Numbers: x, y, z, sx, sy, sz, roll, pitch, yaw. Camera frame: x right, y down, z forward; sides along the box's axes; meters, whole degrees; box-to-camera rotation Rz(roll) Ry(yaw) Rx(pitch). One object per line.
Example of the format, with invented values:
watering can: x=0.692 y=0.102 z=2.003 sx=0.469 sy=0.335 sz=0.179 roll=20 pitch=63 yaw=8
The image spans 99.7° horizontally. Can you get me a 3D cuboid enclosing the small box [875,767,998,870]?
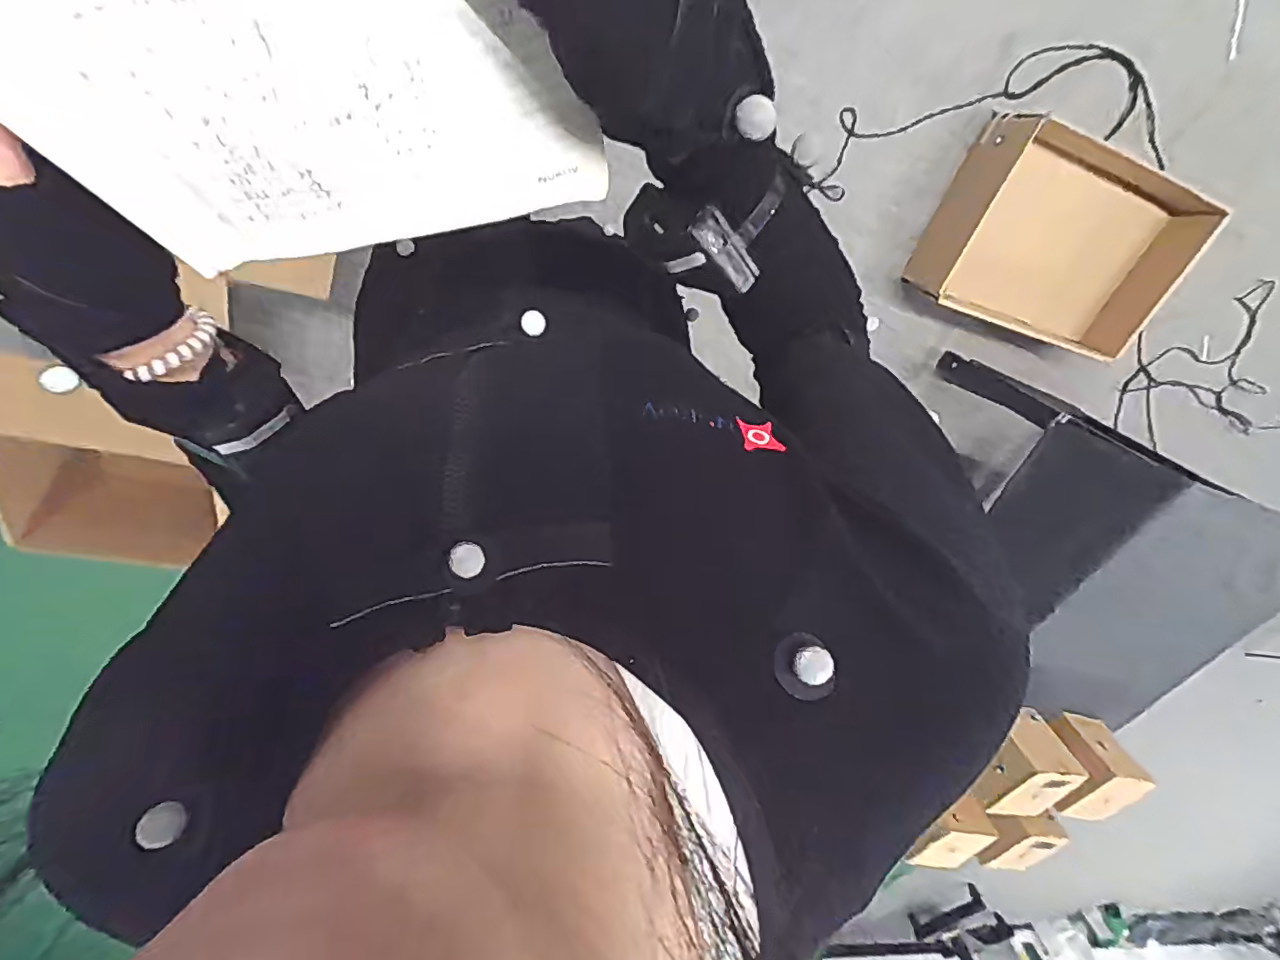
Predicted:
small box: x=0.747 y=0.860 z=1.379 sx=0.179 sy=0.176 sz=0.168 roll=19 pitch=117 yaw=-21

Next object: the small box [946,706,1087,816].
small box: x=0.868 y=0.656 z=1.267 sx=0.168 sy=0.176 sz=0.179 roll=13 pitch=120 yaw=-18
